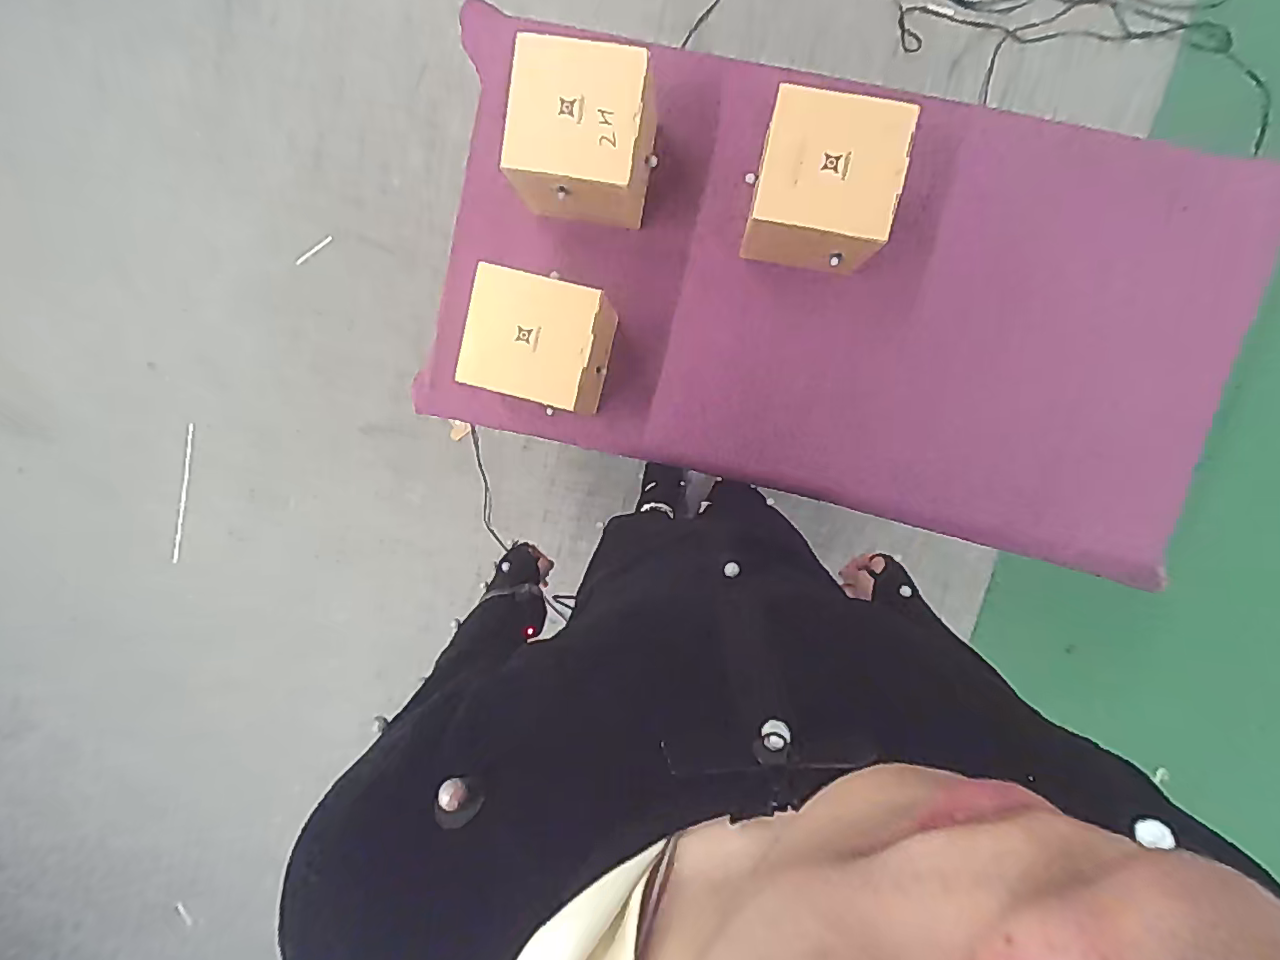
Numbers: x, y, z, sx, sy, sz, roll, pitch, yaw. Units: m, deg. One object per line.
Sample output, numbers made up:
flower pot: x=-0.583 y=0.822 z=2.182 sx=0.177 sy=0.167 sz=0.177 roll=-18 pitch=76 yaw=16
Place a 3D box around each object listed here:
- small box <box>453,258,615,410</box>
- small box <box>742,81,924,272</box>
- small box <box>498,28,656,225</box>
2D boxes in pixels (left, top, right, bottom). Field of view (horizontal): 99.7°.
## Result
small box: x=-0.146 y=-0.203 z=0.802 sx=0.179 sy=0.176 sz=0.168 roll=15 pitch=96 yaw=2
small box: x=0.251 y=-0.403 z=0.749 sx=0.179 sy=0.176 sz=0.168 roll=13 pitch=97 yaw=4
small box: x=-0.079 y=-0.482 z=0.765 sx=0.179 sy=0.176 sz=0.168 roll=11 pitch=98 yaw=2
